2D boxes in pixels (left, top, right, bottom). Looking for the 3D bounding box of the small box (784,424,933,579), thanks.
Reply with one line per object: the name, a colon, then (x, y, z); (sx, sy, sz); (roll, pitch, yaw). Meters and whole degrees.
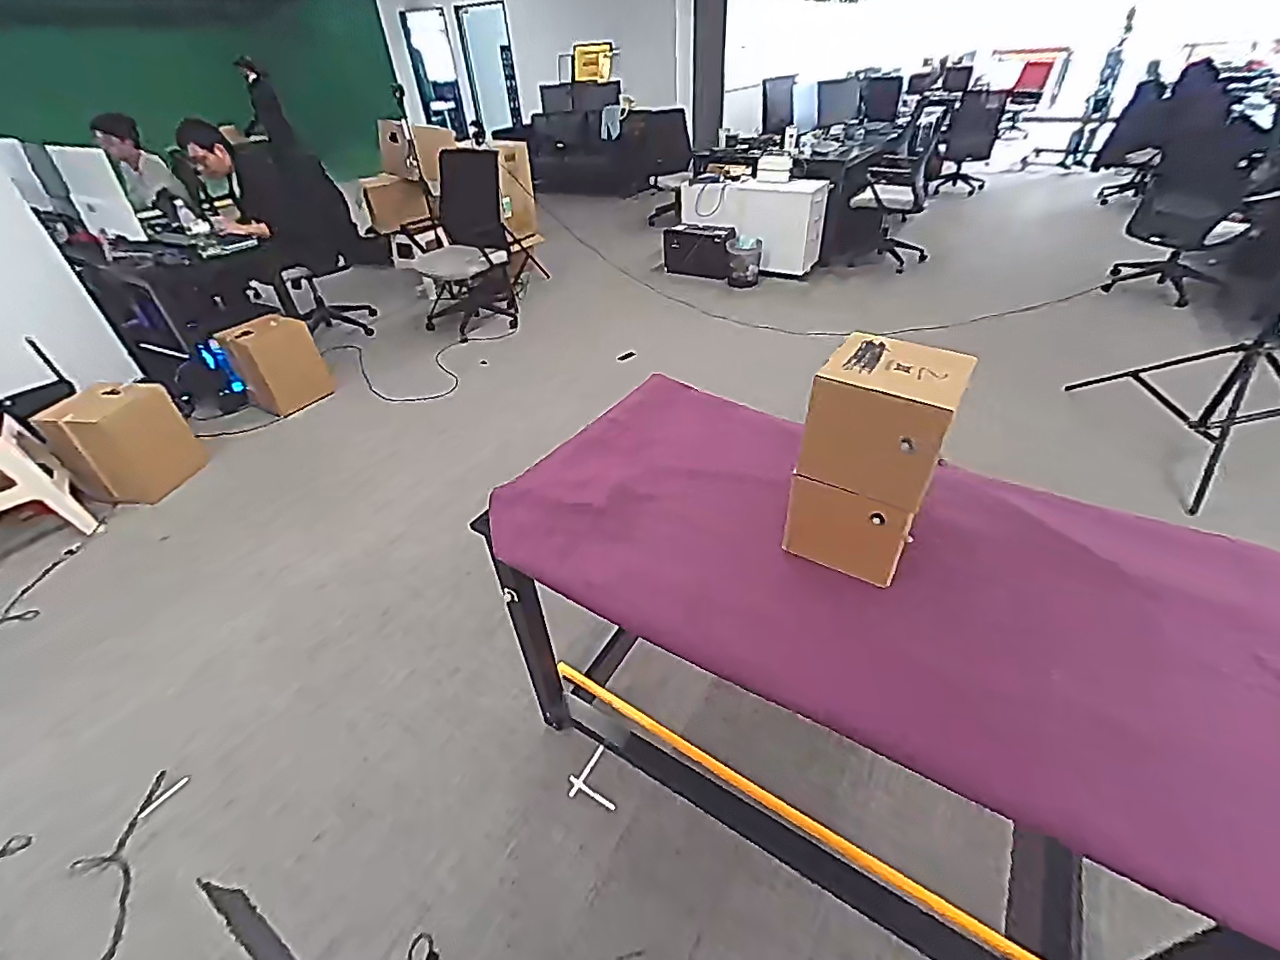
small box: (0.351, 0.034, 0.891); (0.179, 0.176, 0.168); (20, 44, 26)
